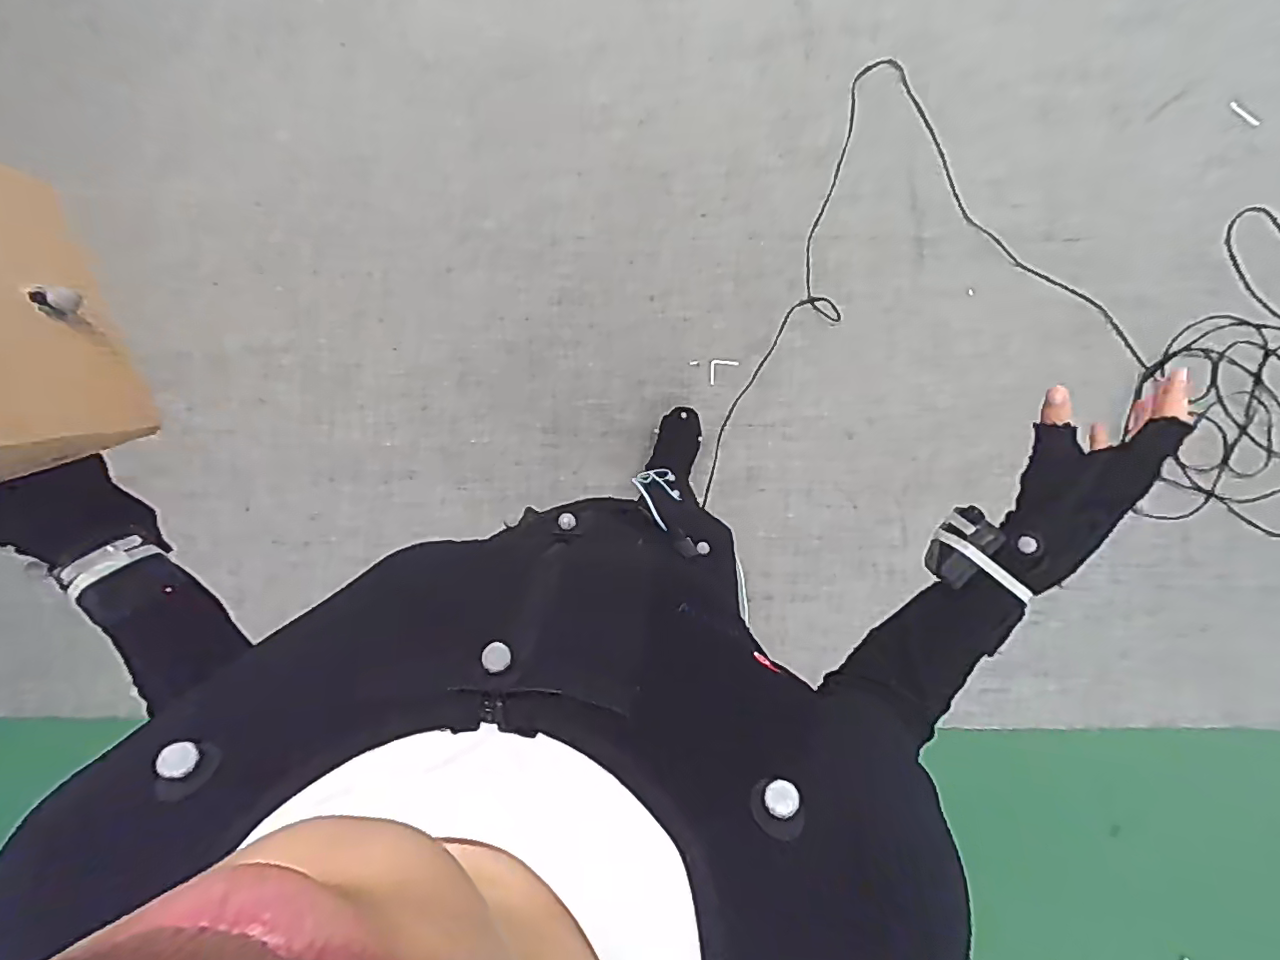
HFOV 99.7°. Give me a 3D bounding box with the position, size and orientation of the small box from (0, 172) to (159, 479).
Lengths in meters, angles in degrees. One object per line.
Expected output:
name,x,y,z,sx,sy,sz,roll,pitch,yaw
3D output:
small box,-0.436,-0.082,0.295,0.168,0.176,0.179,-16,101,3
